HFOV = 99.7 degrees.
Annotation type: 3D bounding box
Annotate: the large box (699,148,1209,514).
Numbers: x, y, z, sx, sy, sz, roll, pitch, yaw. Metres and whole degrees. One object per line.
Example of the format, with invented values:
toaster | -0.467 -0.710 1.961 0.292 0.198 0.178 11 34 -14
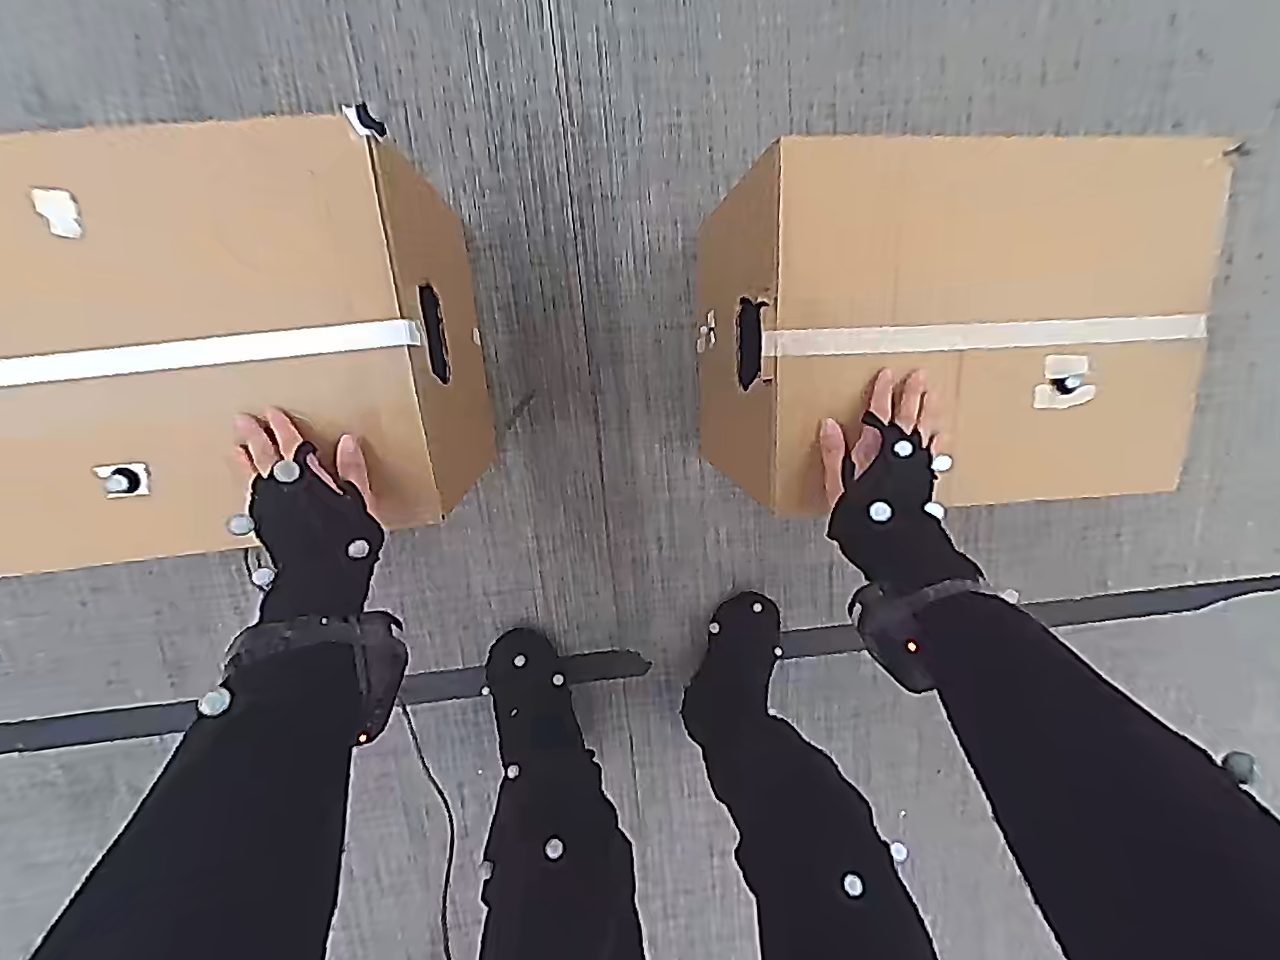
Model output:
large box | 0.299 -0.160 0.635 0.408 0.320 0.320 -3 103 -6
